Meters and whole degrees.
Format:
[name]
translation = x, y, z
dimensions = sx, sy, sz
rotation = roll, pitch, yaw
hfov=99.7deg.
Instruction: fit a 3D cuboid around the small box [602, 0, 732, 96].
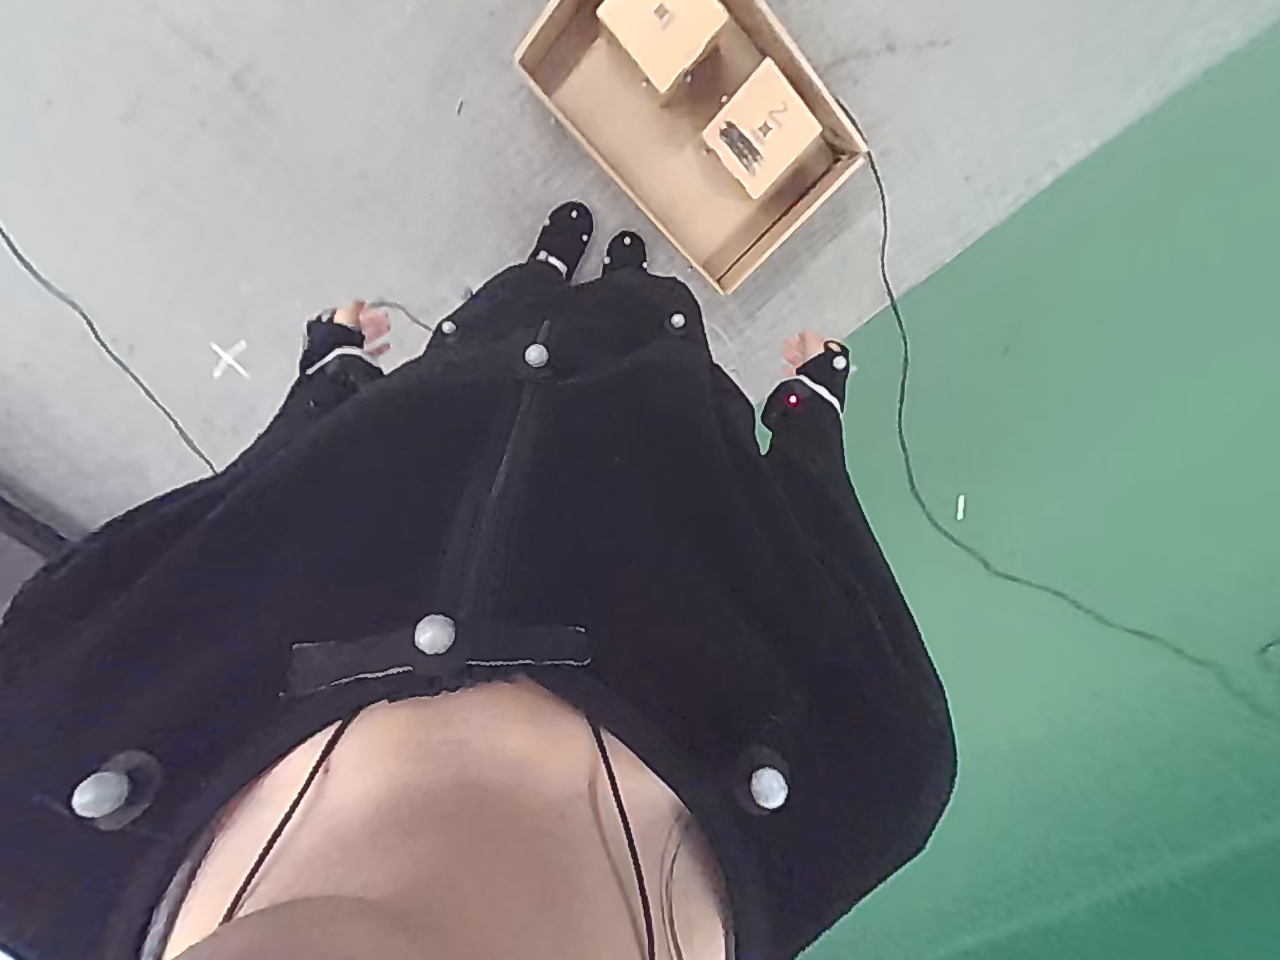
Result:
[small box]
translation = 0.046, -0.874, 1.027
dimensions = 0.168, 0.176, 0.179
rotation = -40, 112, 19
